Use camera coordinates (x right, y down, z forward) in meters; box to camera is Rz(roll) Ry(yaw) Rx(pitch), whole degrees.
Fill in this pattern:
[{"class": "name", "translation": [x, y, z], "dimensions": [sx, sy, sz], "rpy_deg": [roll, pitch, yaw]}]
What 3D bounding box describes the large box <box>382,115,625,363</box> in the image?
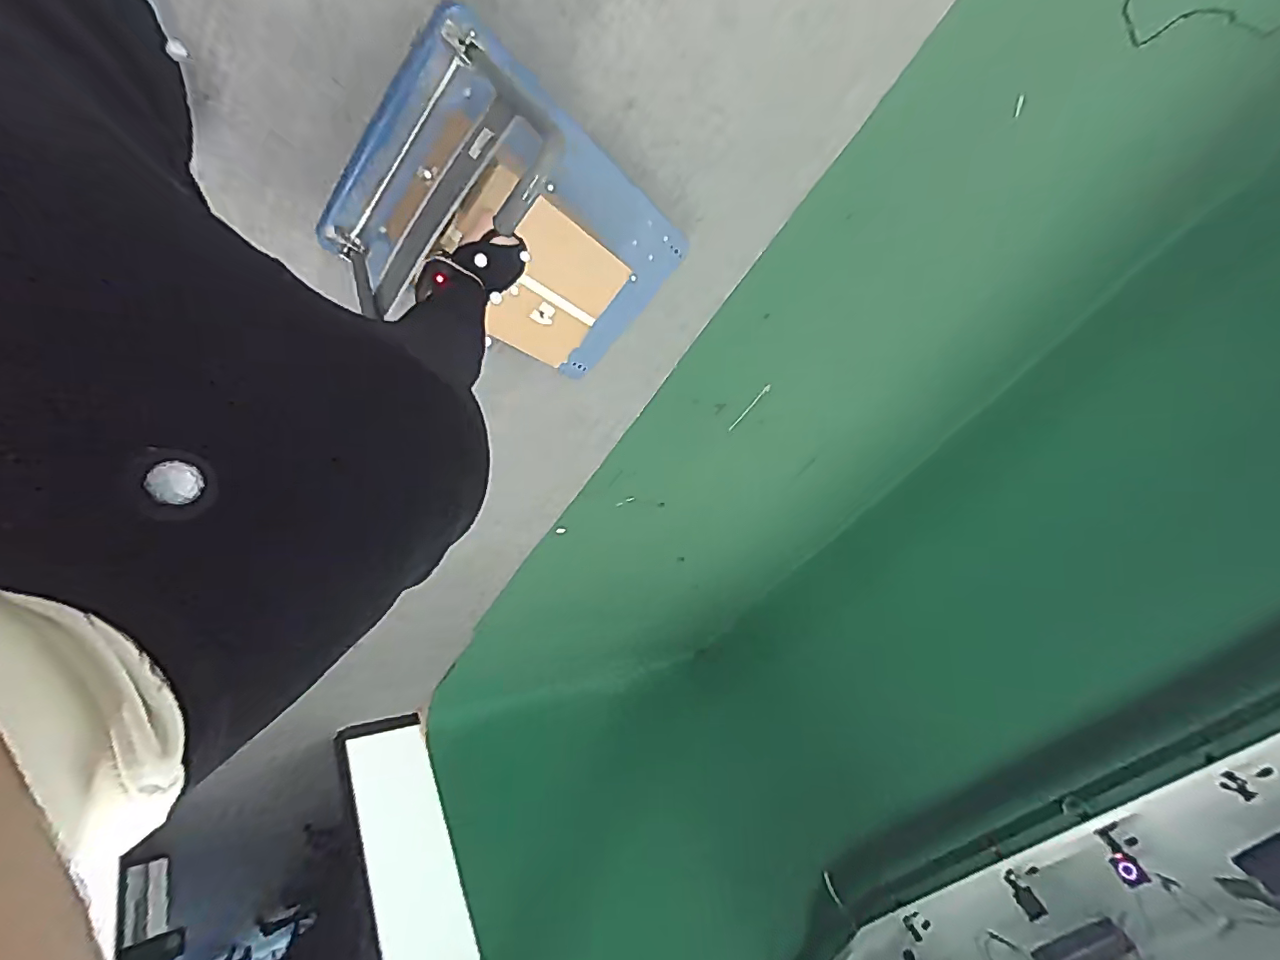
[{"class": "large box", "translation": [-0.321, -0.546, 1.276], "dimensions": [0.320, 0.320, 0.408], "rpy_deg": [-46, 145, 20]}]
